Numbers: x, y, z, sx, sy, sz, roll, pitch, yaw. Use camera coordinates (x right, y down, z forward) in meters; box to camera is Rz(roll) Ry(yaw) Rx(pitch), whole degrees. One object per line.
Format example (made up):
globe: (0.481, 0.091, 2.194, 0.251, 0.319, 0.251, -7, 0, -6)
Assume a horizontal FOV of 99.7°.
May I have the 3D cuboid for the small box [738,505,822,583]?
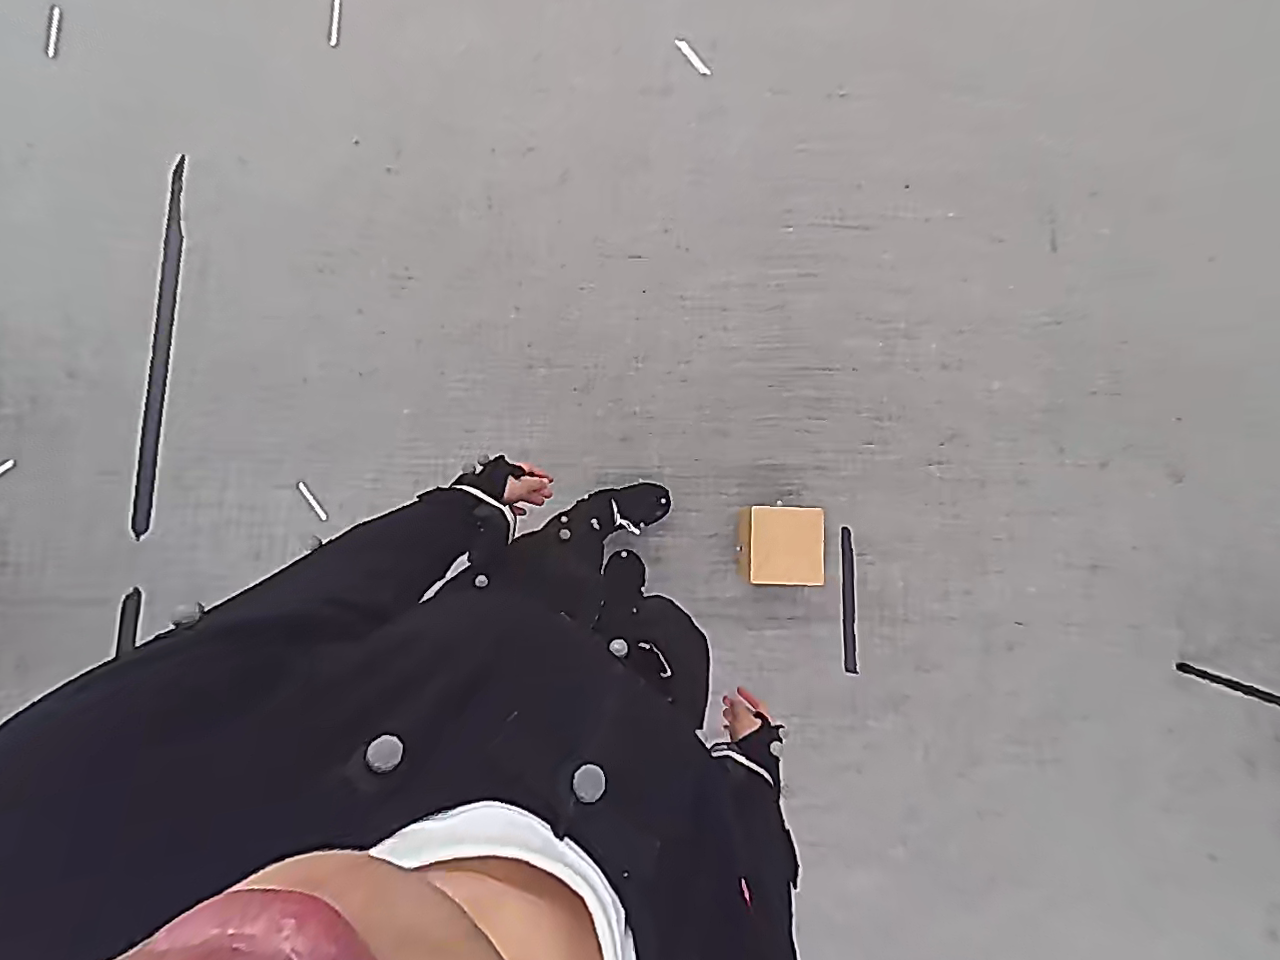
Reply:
small box: (0.330, 0.154, 1.298, 0.168, 0.176, 0.179, 2, 85, 1)
